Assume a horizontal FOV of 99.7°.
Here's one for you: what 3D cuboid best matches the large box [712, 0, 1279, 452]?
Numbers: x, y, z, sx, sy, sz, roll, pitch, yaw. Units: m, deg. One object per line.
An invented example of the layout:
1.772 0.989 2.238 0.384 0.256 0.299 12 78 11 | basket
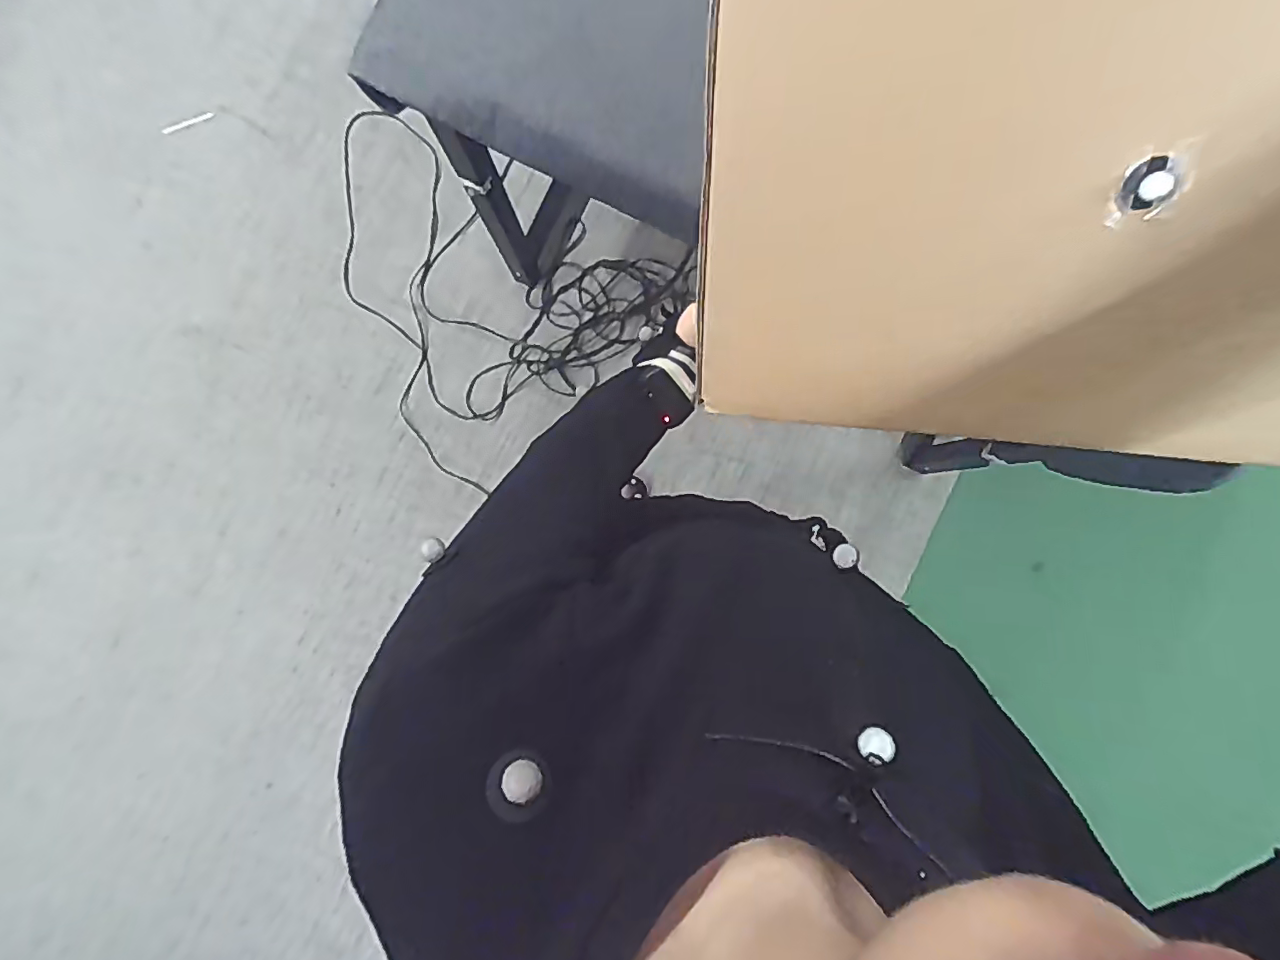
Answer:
0.268 -0.236 0.376 0.408 0.320 0.320 5 125 11 | large box
